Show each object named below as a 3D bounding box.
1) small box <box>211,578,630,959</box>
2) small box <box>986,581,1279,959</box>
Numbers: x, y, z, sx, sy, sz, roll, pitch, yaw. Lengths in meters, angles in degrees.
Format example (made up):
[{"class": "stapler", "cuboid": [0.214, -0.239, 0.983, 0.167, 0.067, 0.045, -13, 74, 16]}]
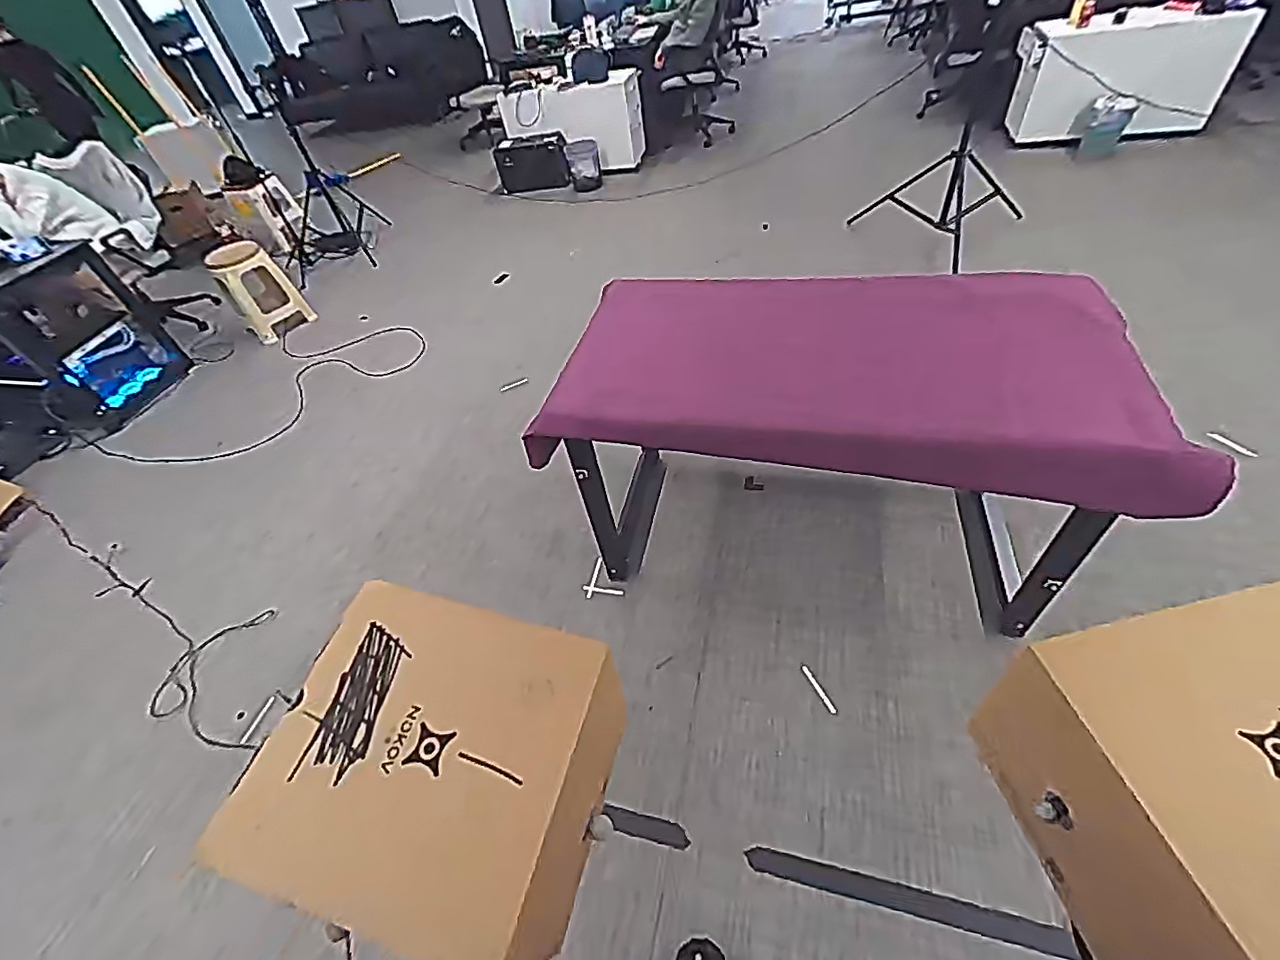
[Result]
[{"class": "small box", "cuboid": [-0.115, 0.193, 0.369, 0.179, 0.176, 0.168, 12, 56, 12]}, {"class": "small box", "cuboid": [0.354, 0.191, 0.340, 0.179, 0.176, 0.168, -14, 48, 2]}]
